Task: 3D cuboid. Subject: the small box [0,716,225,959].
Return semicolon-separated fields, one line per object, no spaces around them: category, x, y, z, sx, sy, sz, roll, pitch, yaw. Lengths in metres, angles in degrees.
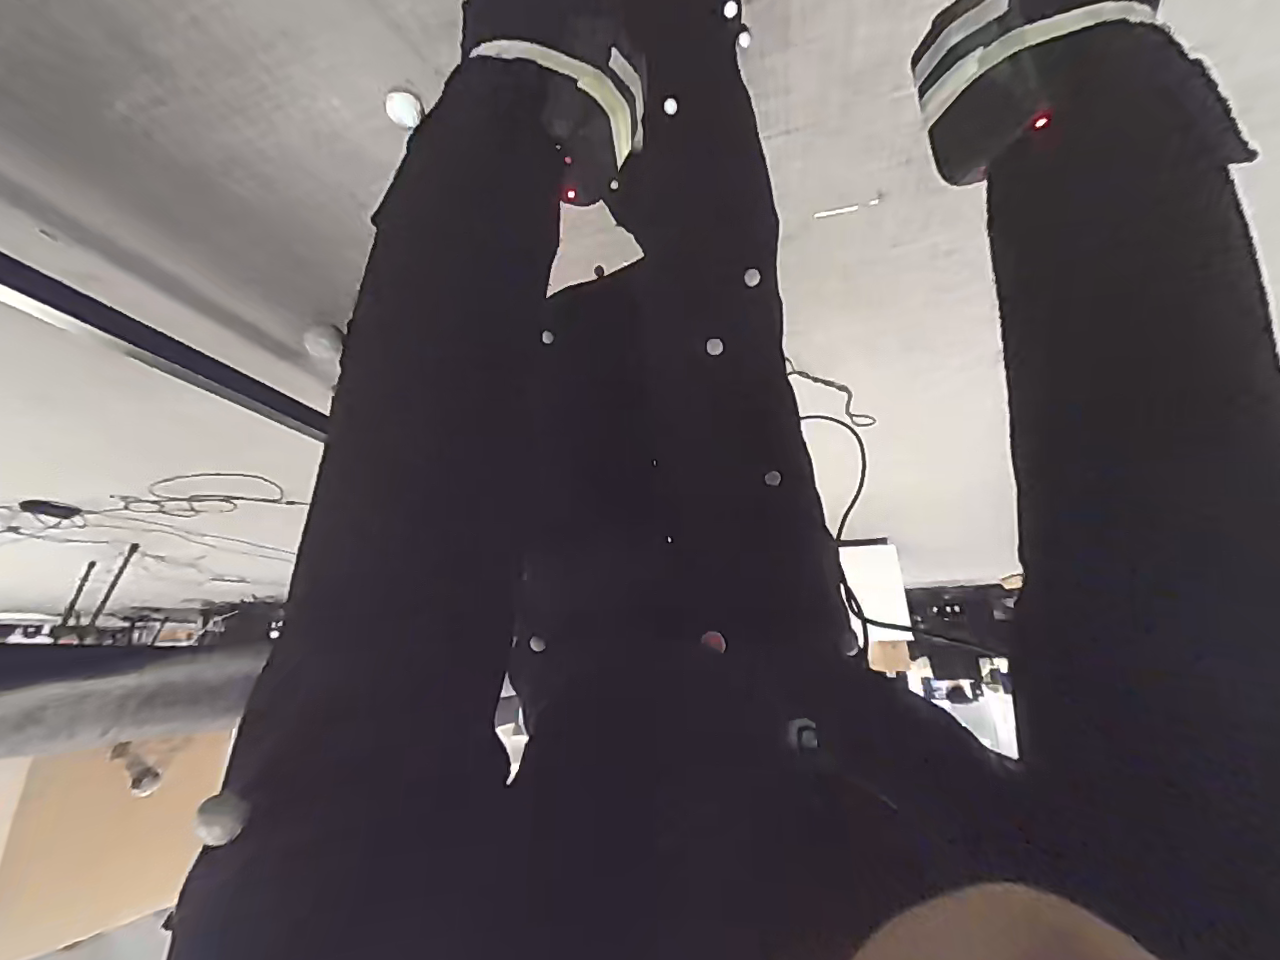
small box;-0.539;0.319;0.508;0.179;0.176;0.168;-7;160;17
